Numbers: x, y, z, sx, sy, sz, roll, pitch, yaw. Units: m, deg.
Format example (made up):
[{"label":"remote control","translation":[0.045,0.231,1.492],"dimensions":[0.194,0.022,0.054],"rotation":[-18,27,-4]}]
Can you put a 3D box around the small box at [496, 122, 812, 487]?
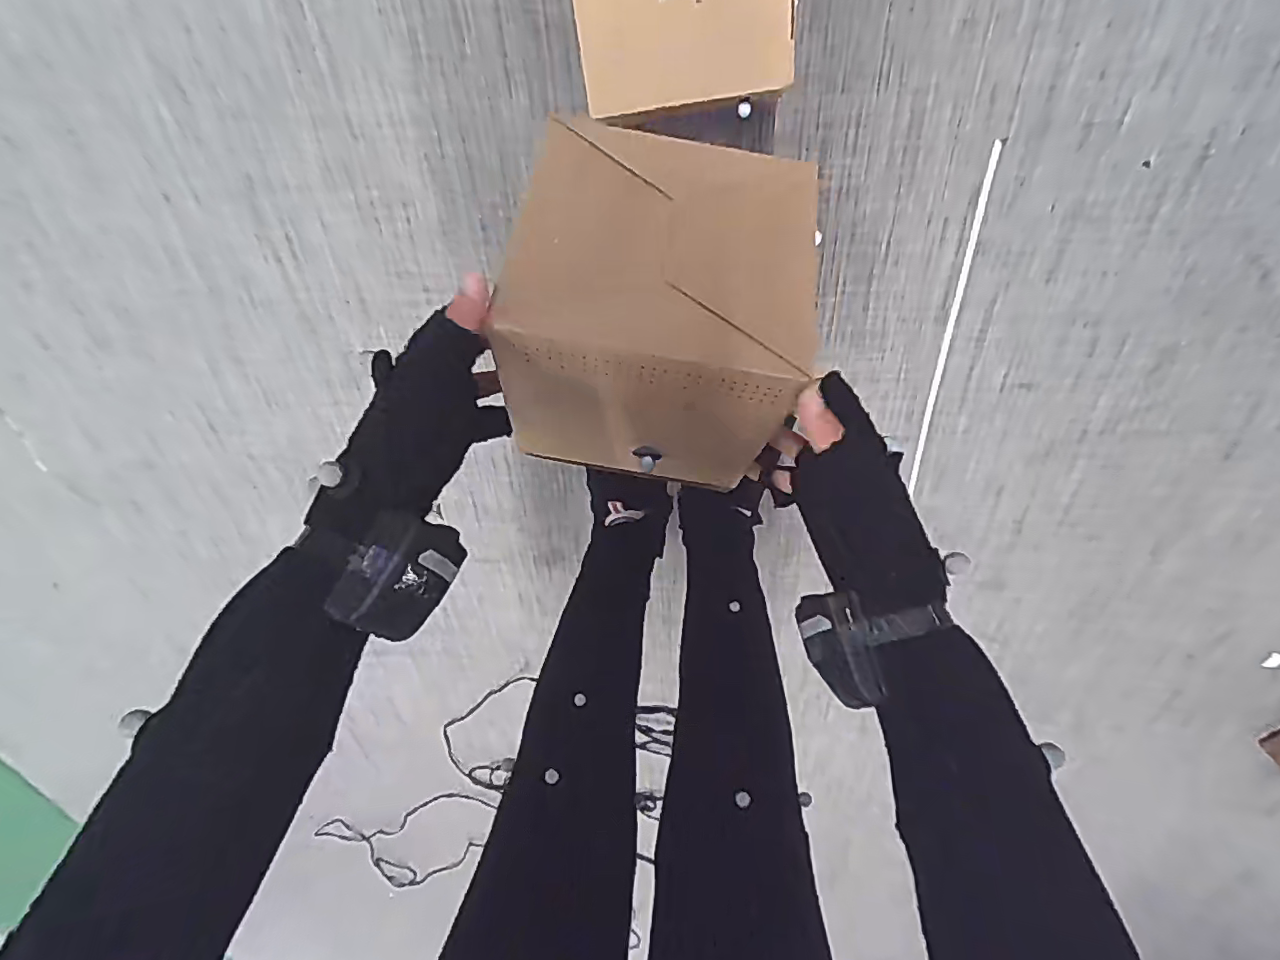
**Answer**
[{"label":"small box","translation":[0.011,-0.110,0.384],"dimensions":[0.179,0.168,0.176],"rotation":[10,157,-3]}]

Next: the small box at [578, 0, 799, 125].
[{"label":"small box","translation":[0.046,-0.430,0.487],"dimensions":[0.179,0.176,0.168],"rotation":[-3,121,10]}]
